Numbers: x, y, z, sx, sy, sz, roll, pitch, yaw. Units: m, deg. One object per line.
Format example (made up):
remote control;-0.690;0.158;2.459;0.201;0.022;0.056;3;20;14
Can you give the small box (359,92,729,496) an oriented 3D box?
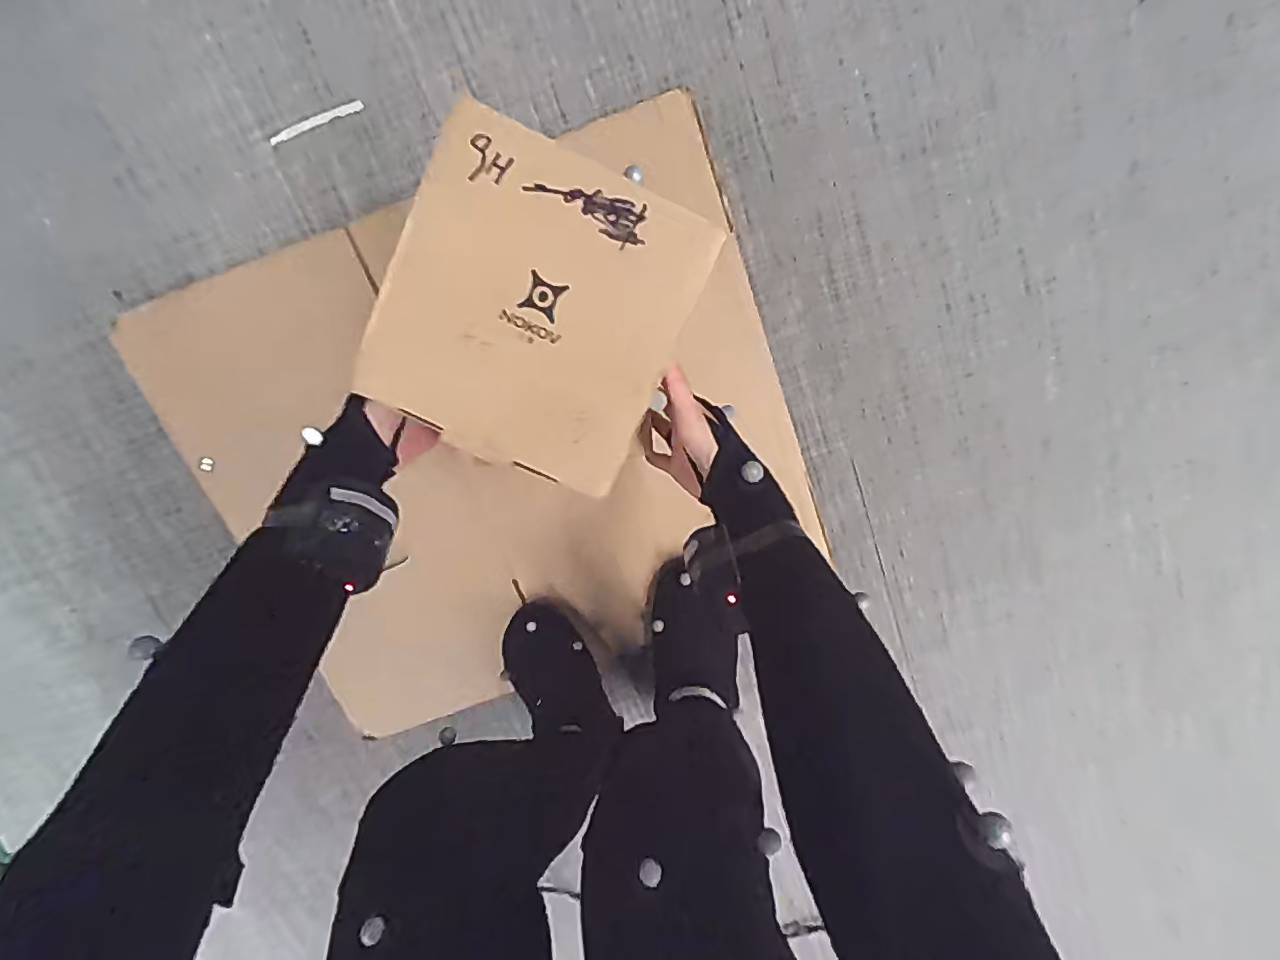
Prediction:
small box;-0.058;-0.113;0.390;0.168;0.176;0.179;25;98;-6
